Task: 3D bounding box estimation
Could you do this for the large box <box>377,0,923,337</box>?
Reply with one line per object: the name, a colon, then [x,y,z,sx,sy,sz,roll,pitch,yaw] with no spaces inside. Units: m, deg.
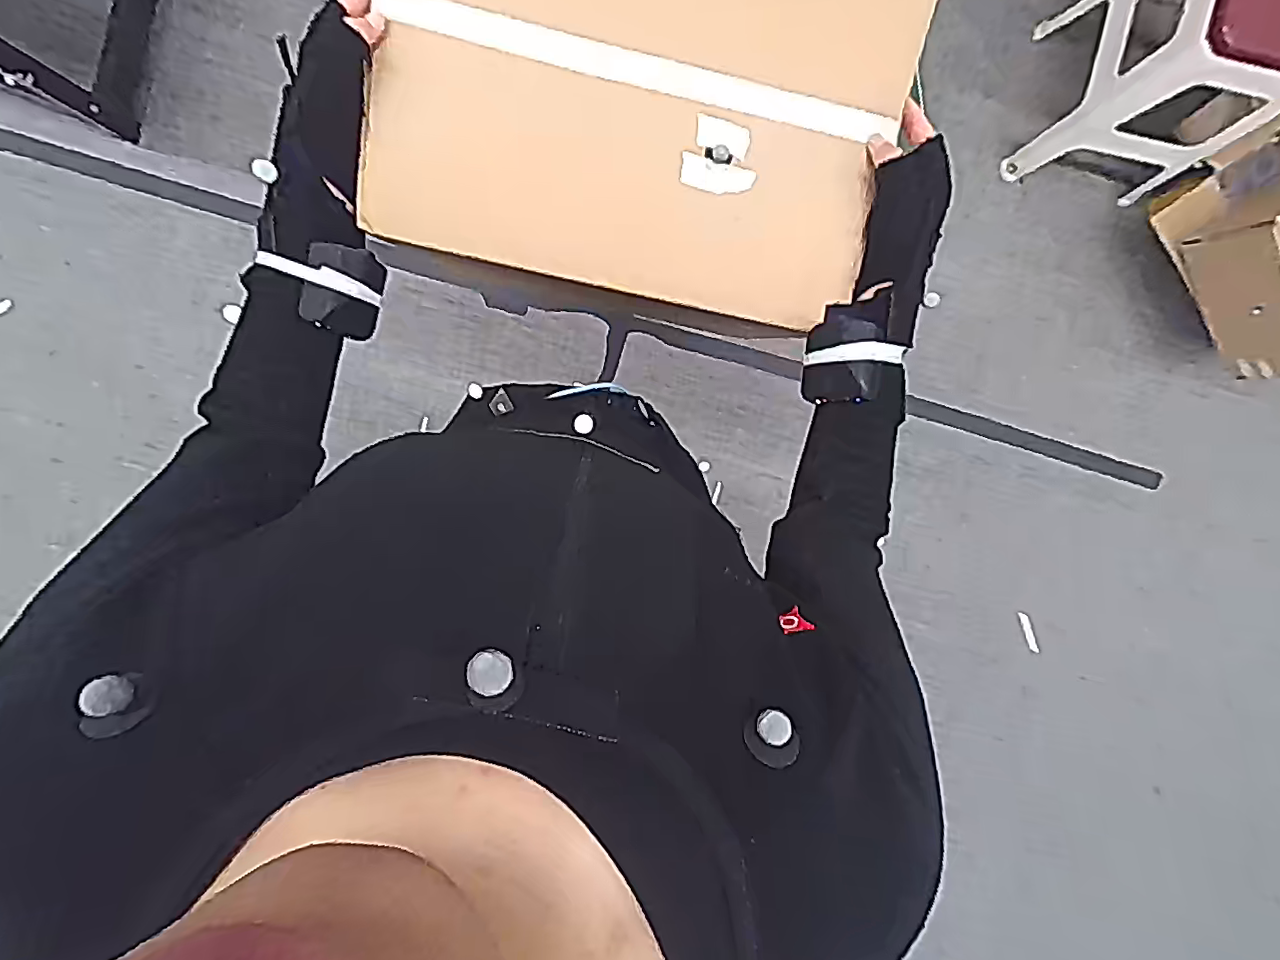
large box: [-0.005,-0.345,0.568,0.408,0.320,0.320,10,104,-8]
